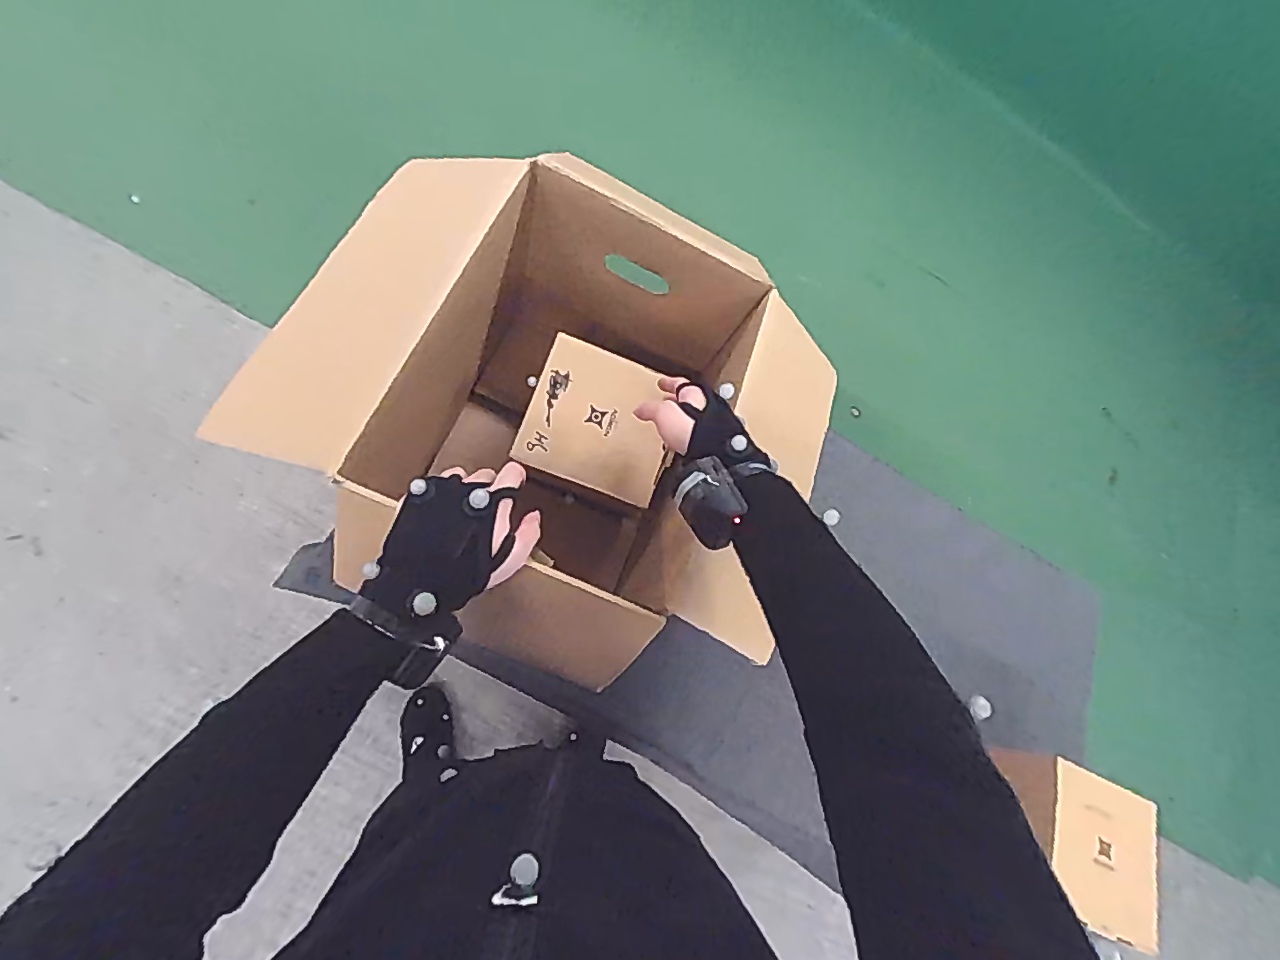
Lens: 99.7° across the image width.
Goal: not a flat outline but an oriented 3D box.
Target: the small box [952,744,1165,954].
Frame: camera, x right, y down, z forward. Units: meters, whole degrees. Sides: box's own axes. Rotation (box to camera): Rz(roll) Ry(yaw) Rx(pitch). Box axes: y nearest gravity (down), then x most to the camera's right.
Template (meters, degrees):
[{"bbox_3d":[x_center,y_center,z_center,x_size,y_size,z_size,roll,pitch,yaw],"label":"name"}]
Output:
[{"bbox_3d":[0.571,0.494,0.753,0.168,0.176,0.179,27,65,-6],"label":"small box"}]
